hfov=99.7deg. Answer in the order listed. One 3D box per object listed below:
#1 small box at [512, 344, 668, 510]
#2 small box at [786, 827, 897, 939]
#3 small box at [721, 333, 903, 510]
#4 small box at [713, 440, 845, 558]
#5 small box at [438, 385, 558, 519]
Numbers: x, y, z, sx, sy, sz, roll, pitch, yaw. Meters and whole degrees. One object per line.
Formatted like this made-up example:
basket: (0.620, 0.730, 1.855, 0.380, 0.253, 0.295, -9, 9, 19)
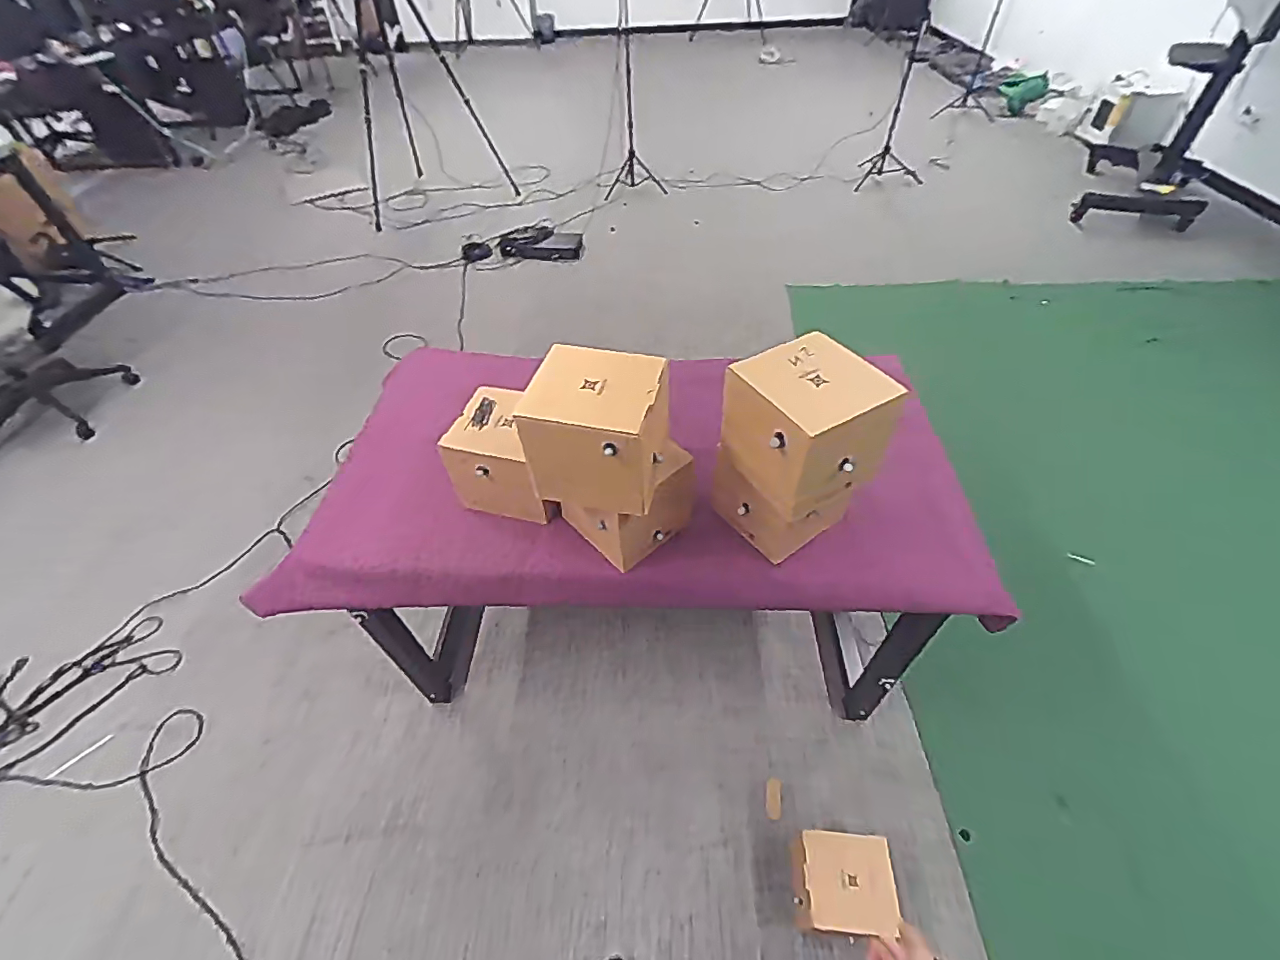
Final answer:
small box: (-0.062, -0.075, 0.794, 0.179, 0.176, 0.168, 10, 49, 10)
small box: (0.412, 0.853, 1.143, 0.179, 0.176, 0.168, 3, 49, 4)
small box: (0.234, -0.079, 0.783, 0.168, 0.176, 0.179, -24, 50, -18)
small box: (0.242, 0.002, 0.932, 0.179, 0.176, 0.168, -30, 53, -22)
small box: (-0.234, -0.049, 0.996, 0.179, 0.176, 0.168, 11, 50, 10)
